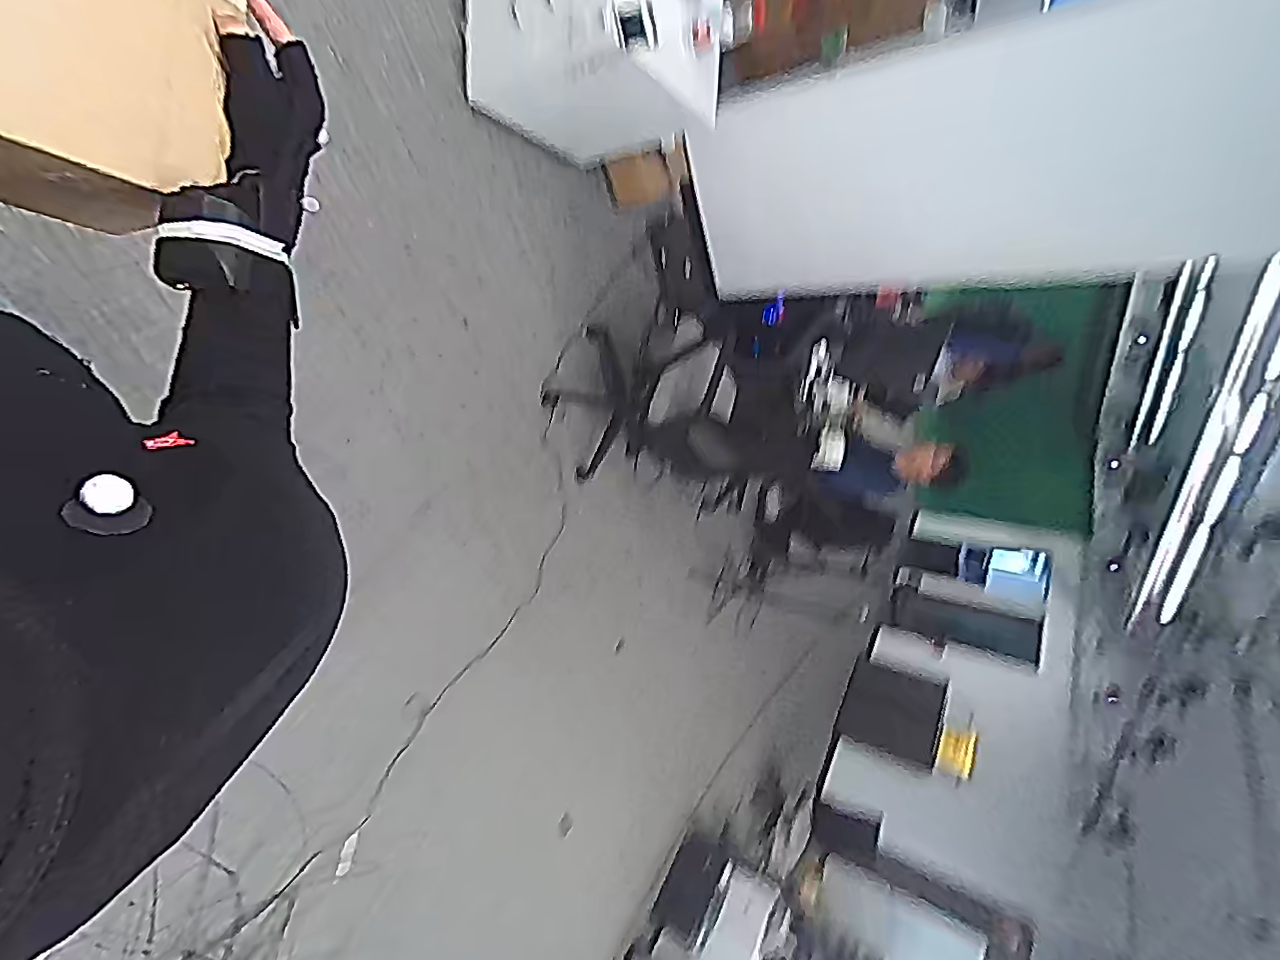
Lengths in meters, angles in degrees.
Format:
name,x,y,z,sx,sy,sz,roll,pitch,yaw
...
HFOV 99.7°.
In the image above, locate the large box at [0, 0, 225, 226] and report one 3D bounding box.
name,x,y,z,sx,sy,sz,roll,pitch,yaw
large box,-0.546,-0.389,0.325,0.408,0.320,0.320,0,103,-56
